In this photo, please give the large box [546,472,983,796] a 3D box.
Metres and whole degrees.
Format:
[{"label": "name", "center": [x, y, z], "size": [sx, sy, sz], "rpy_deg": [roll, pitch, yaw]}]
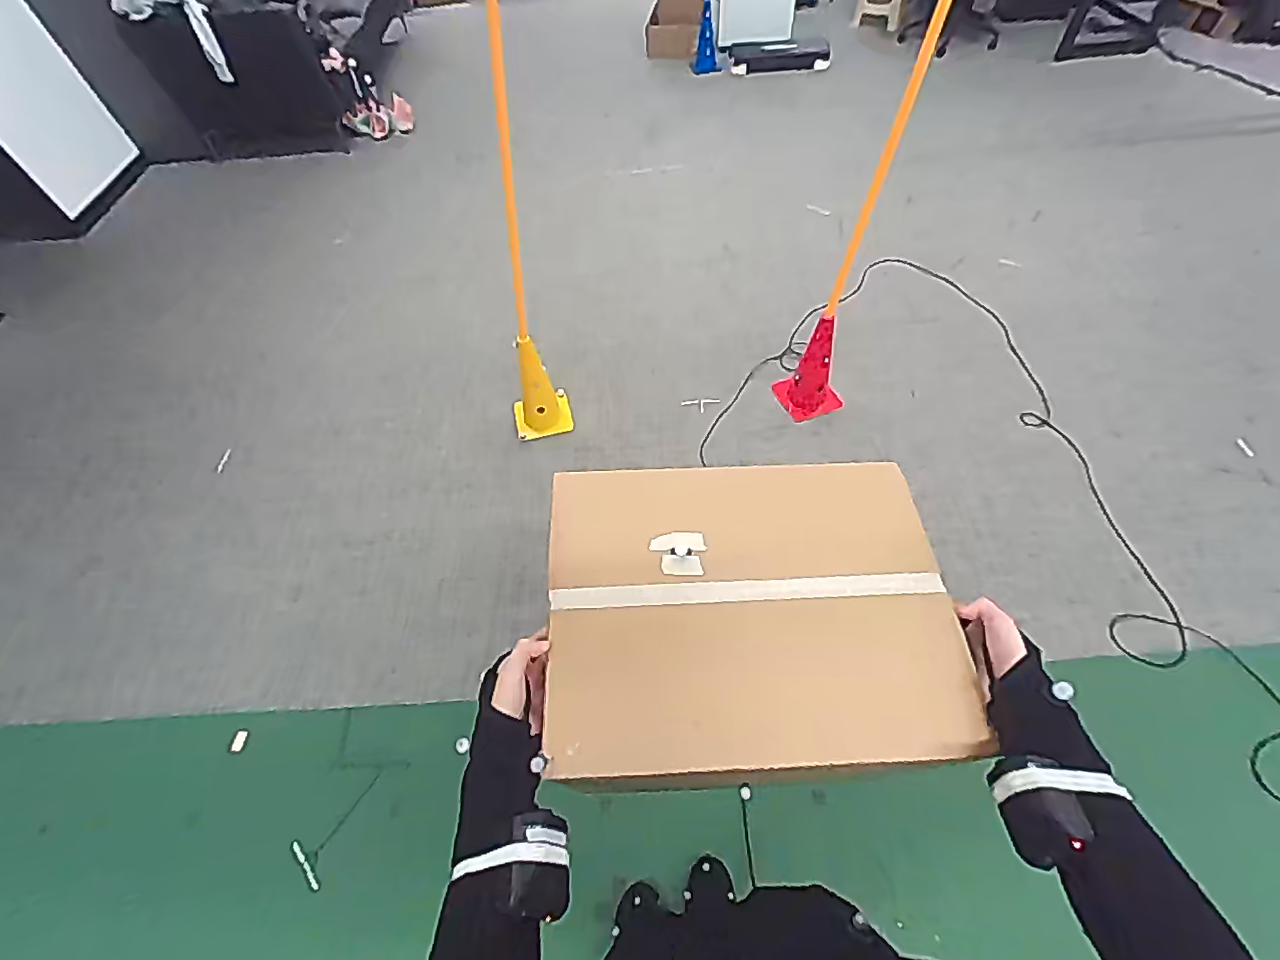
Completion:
[{"label": "large box", "center": [0.108, 0.208, 0.686], "size": [0.408, 0.320, 0.320], "rpy_deg": [-2, 57, -1]}]
